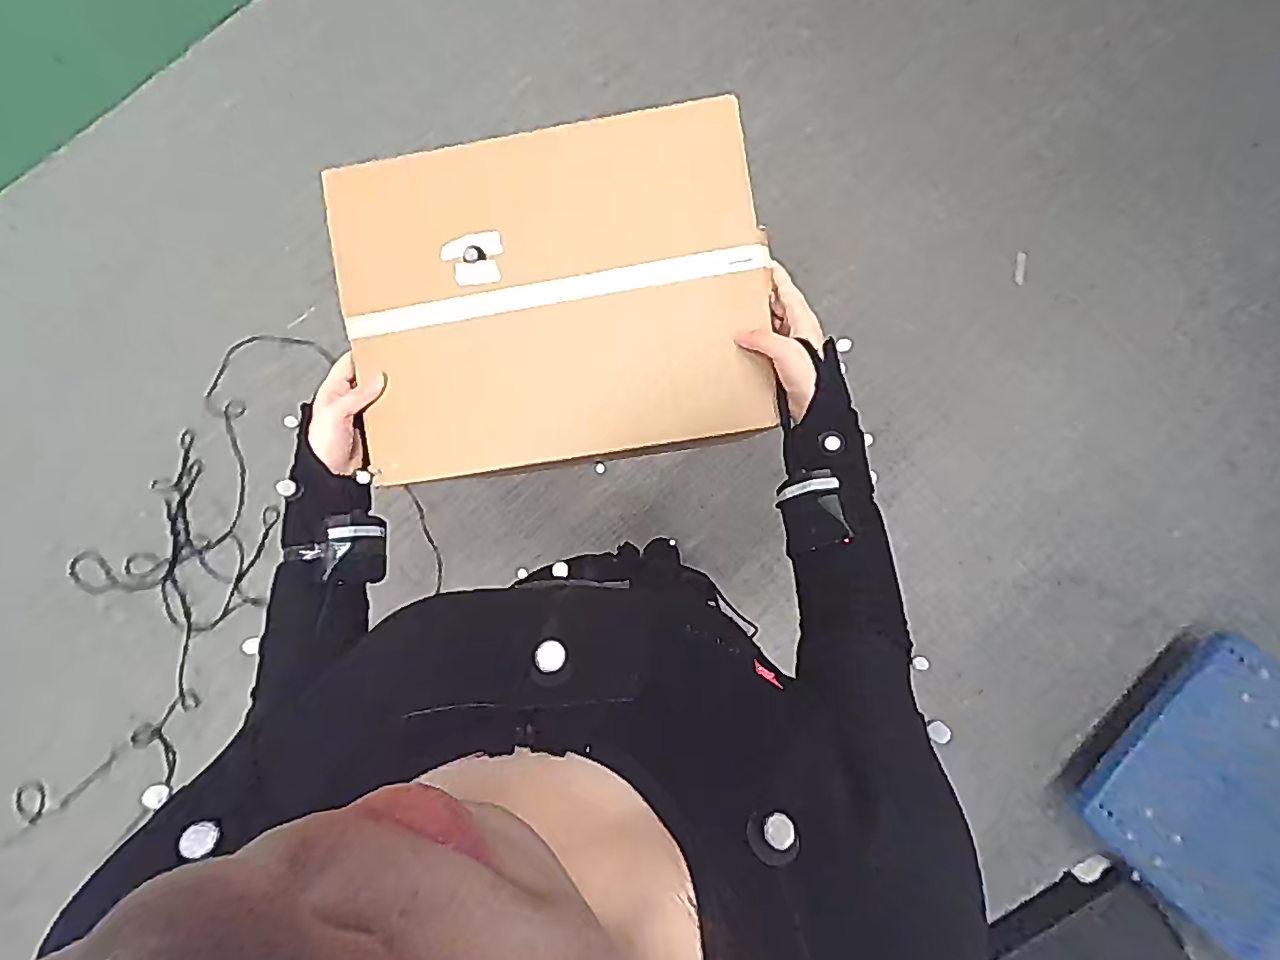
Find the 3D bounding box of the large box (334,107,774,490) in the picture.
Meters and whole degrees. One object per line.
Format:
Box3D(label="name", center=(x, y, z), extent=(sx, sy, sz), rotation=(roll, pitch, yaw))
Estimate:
Box3D(label="large box", center=(-0.078, -0.180, 0.681), extent=(0.408, 0.320, 0.320), rotation=(-9, 91, 4))
